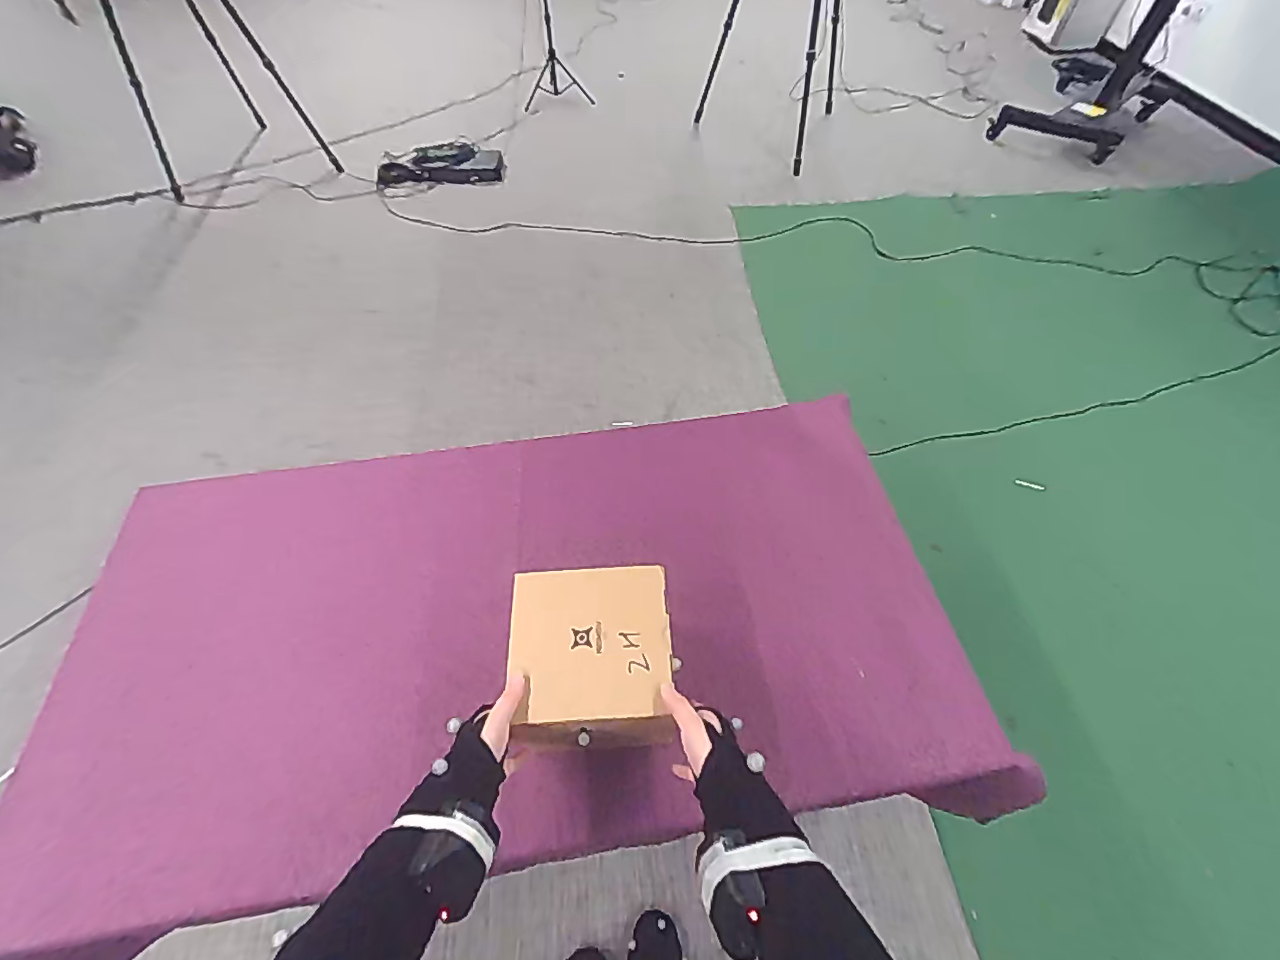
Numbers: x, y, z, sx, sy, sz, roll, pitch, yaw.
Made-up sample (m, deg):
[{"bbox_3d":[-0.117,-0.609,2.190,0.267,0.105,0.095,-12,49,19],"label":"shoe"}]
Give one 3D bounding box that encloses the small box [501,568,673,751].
[{"bbox_3d":[-0.053,0.221,0.649,0.179,0.176,0.168,-4,55,0],"label":"small box"}]
